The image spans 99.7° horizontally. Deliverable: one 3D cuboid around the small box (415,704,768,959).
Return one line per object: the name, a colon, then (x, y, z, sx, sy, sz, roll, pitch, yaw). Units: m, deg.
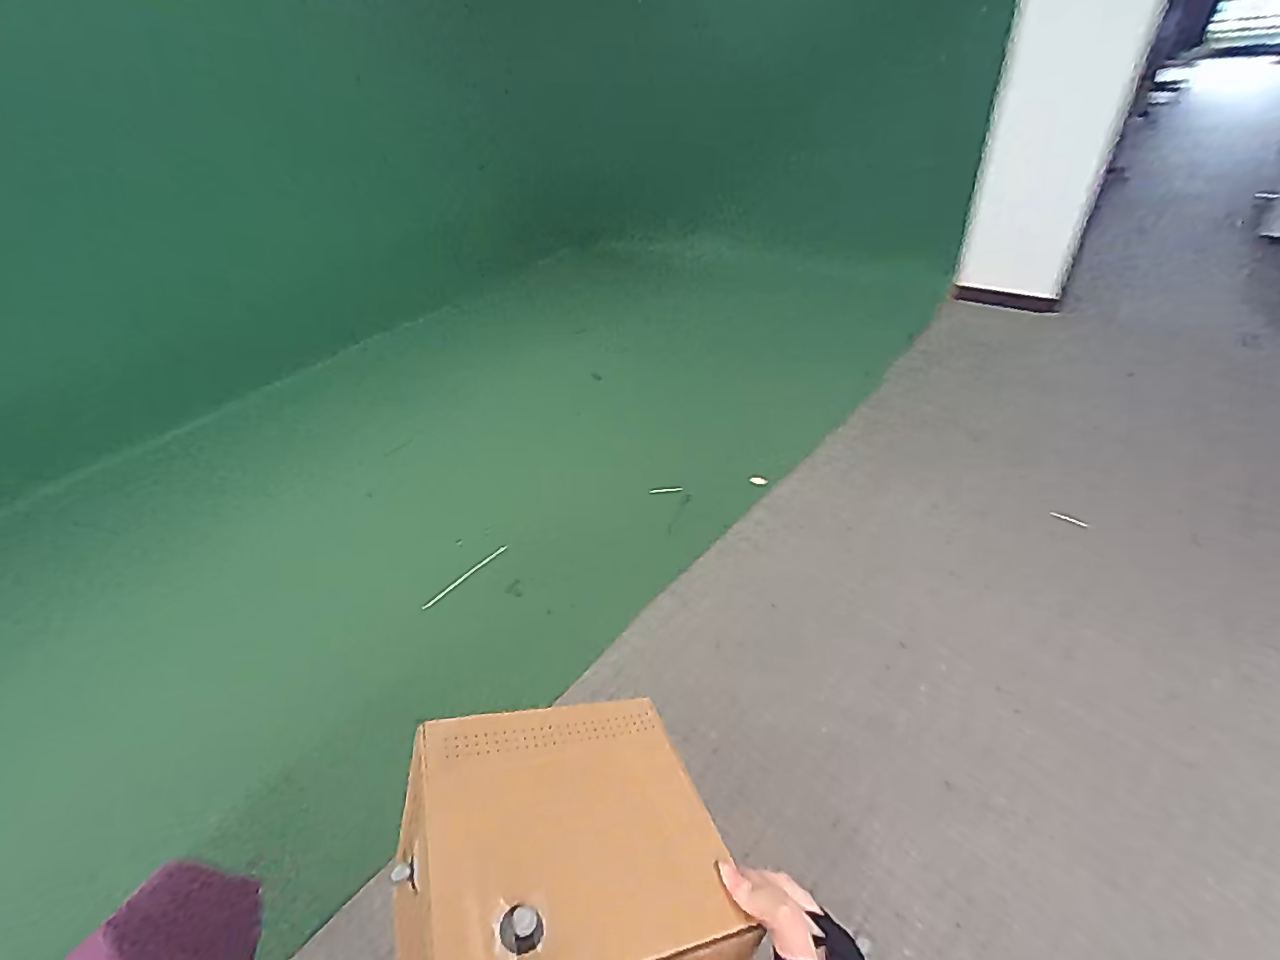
small box: (-0.052, 0.276, 0.368, 0.179, 0.168, 0.176, 5, 24, -24)
